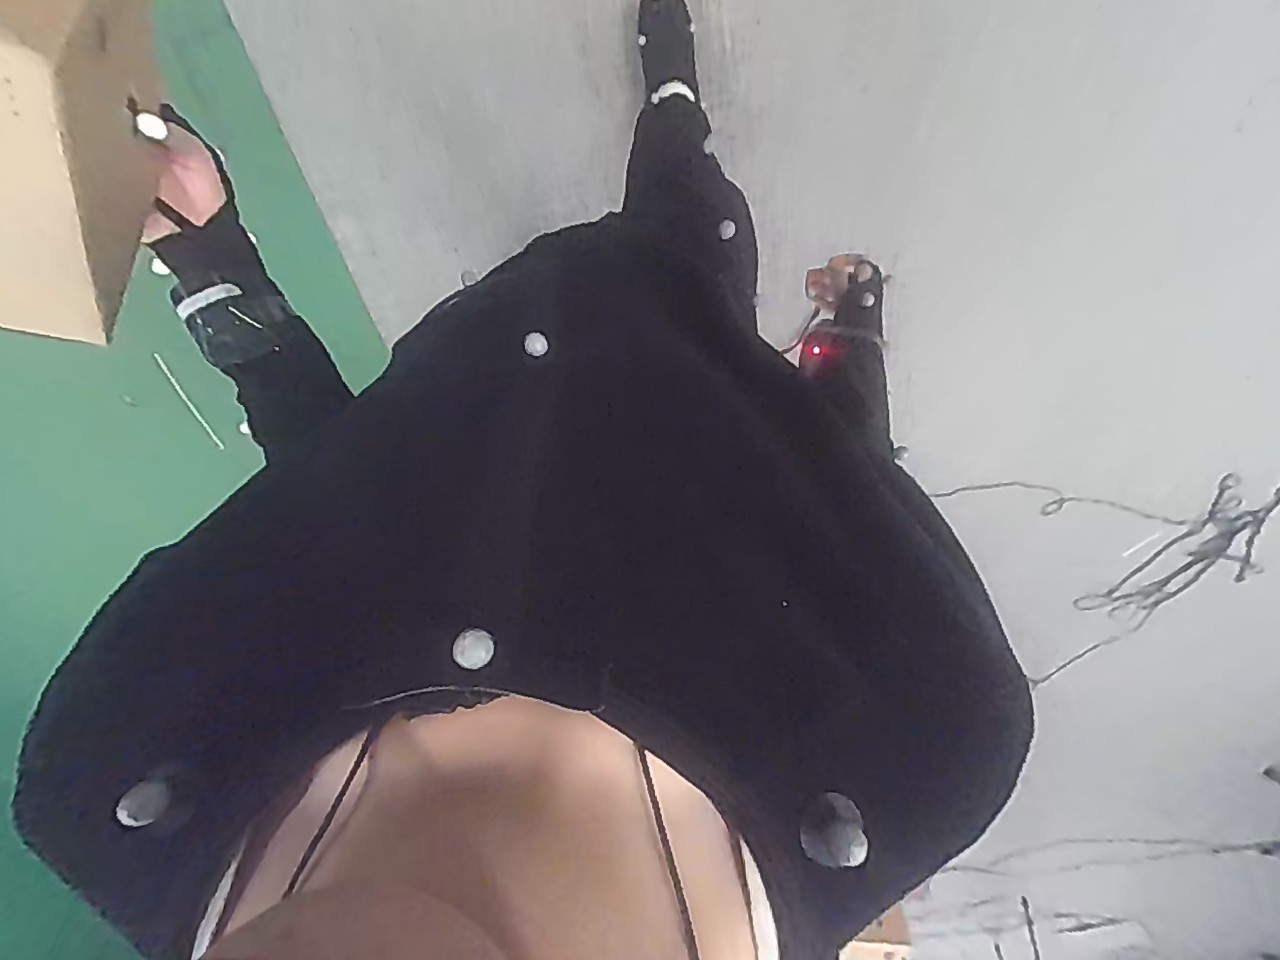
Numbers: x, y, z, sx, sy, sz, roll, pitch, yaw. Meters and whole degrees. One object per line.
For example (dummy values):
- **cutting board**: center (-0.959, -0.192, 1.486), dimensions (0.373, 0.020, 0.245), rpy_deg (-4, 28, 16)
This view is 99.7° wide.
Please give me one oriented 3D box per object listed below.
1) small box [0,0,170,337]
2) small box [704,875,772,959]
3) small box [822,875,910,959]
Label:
- **small box**: center (-0.328, -0.194, 0.227), dimensions (0.179, 0.168, 0.176), rpy_deg (7, 148, -36)
- **small box**: center (0.295, 1.321, 1.633), dimensions (0.179, 0.176, 0.168), rpy_deg (-8, 122, 6)
- **small box**: center (0.664, 1.305, 1.609), dimensions (0.179, 0.176, 0.168), rpy_deg (4, 124, 0)
